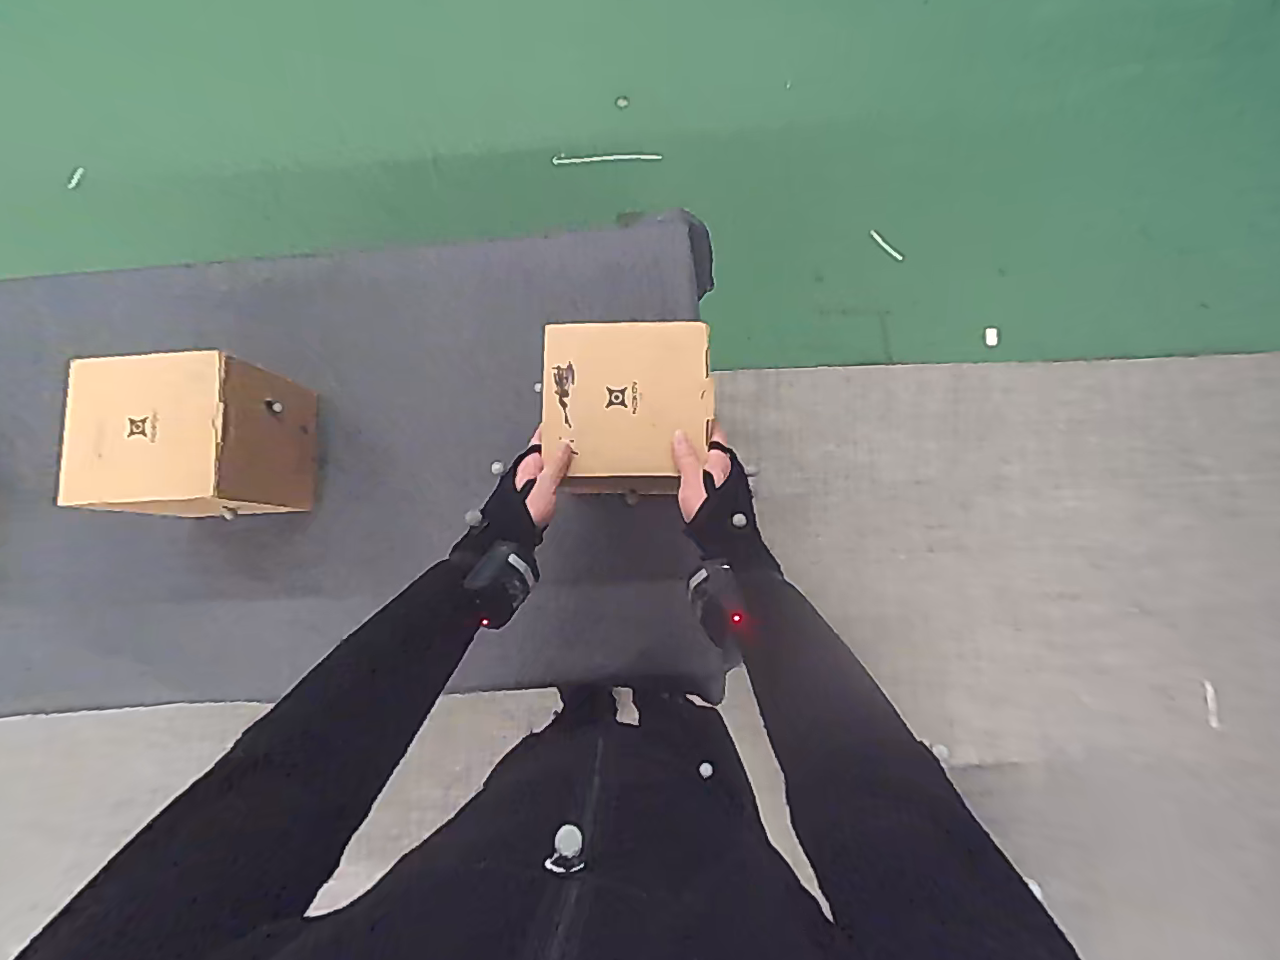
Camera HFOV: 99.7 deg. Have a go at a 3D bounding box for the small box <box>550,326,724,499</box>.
[{"bbox_3d":[-0.001,-0.068,0.632,0.179,0.176,0.168,1,83,2],"label":"small box"}]

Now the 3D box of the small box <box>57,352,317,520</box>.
[{"bbox_3d":[-0.520,-0.042,0.648,0.179,0.176,0.168,-4,82,3],"label":"small box"}]
